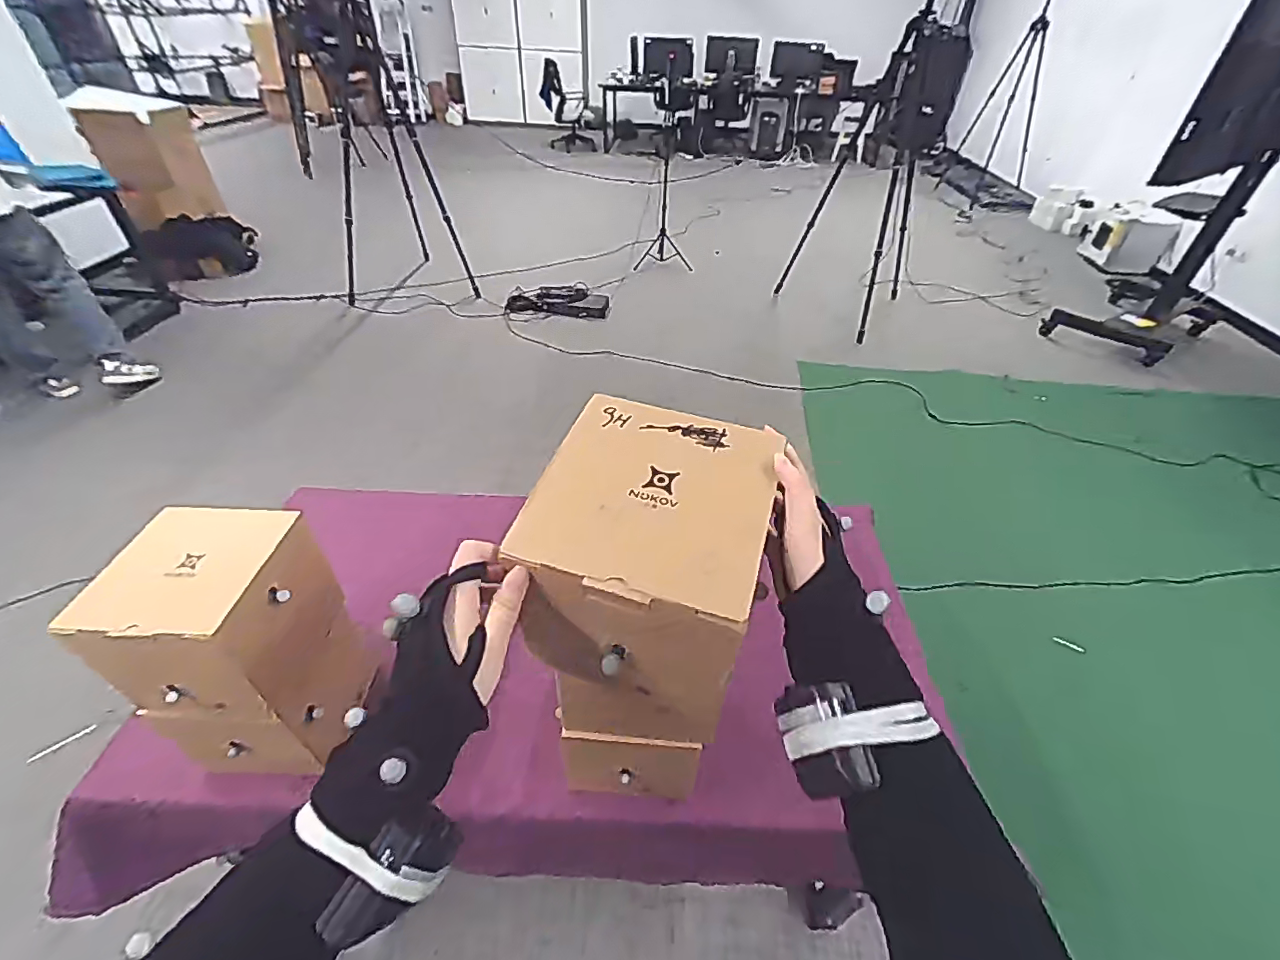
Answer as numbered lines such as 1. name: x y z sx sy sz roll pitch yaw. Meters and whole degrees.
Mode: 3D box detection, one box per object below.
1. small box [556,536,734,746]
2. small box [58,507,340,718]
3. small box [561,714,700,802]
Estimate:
1. small box: 0.009 0.187 0.629 0.179 0.176 0.168 6 42 2
2. small box: -0.487 0.155 0.640 0.168 0.176 0.179 3 42 0
3. small box: -0.005 0.313 0.735 0.168 0.176 0.179 5 41 2
